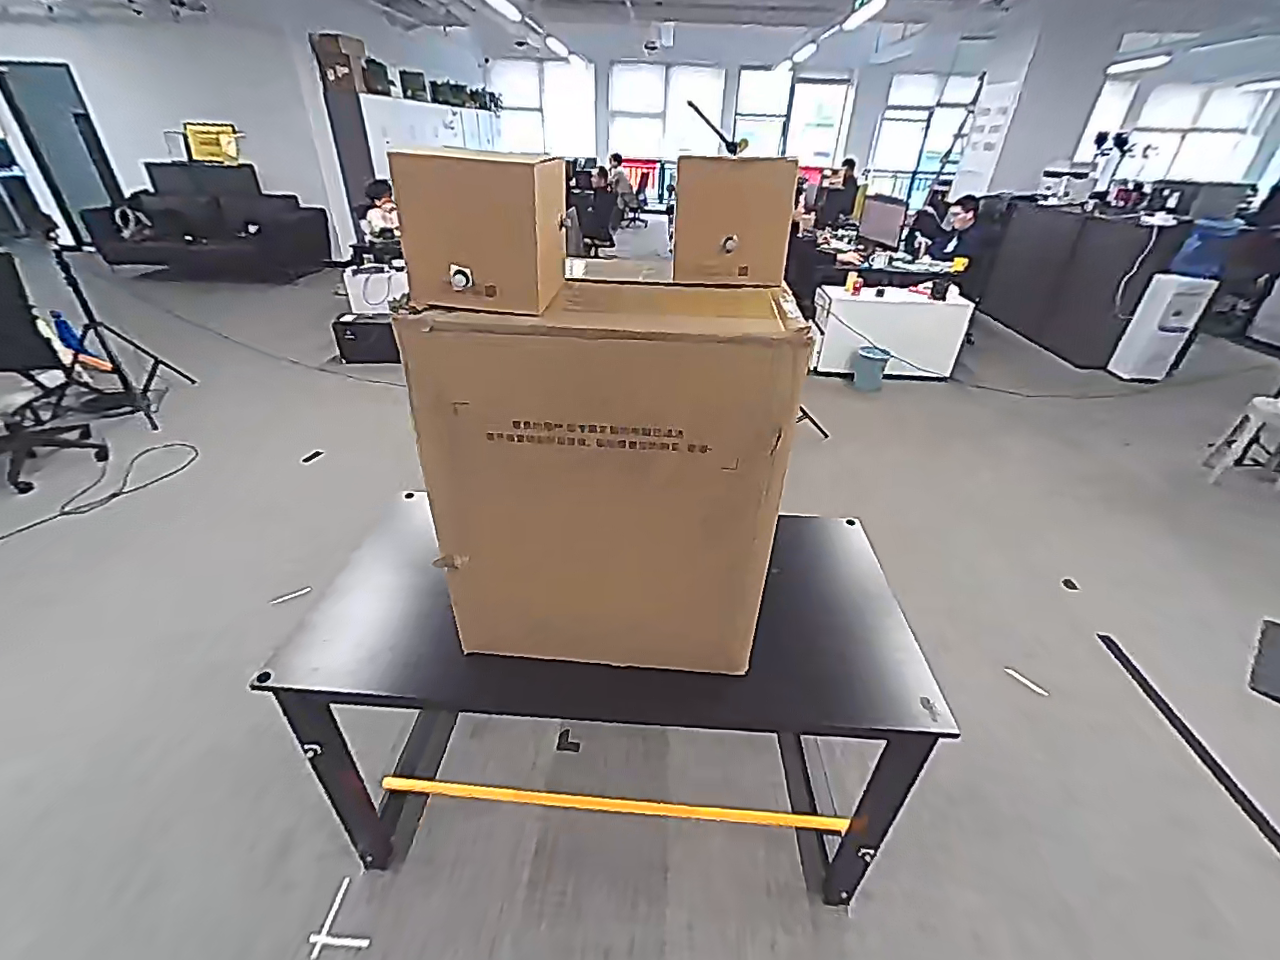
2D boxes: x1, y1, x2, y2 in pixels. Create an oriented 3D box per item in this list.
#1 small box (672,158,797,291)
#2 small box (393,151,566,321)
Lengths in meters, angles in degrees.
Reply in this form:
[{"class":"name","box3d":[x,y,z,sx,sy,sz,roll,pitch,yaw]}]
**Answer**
[{"class":"small box","box3d":[0.136,-0.401,0.846,0.168,0.176,0.179,2,30,2]},{"class":"small box","box3d":[-0.191,-0.319,0.701,0.168,0.176,0.179,4,34,1]}]
